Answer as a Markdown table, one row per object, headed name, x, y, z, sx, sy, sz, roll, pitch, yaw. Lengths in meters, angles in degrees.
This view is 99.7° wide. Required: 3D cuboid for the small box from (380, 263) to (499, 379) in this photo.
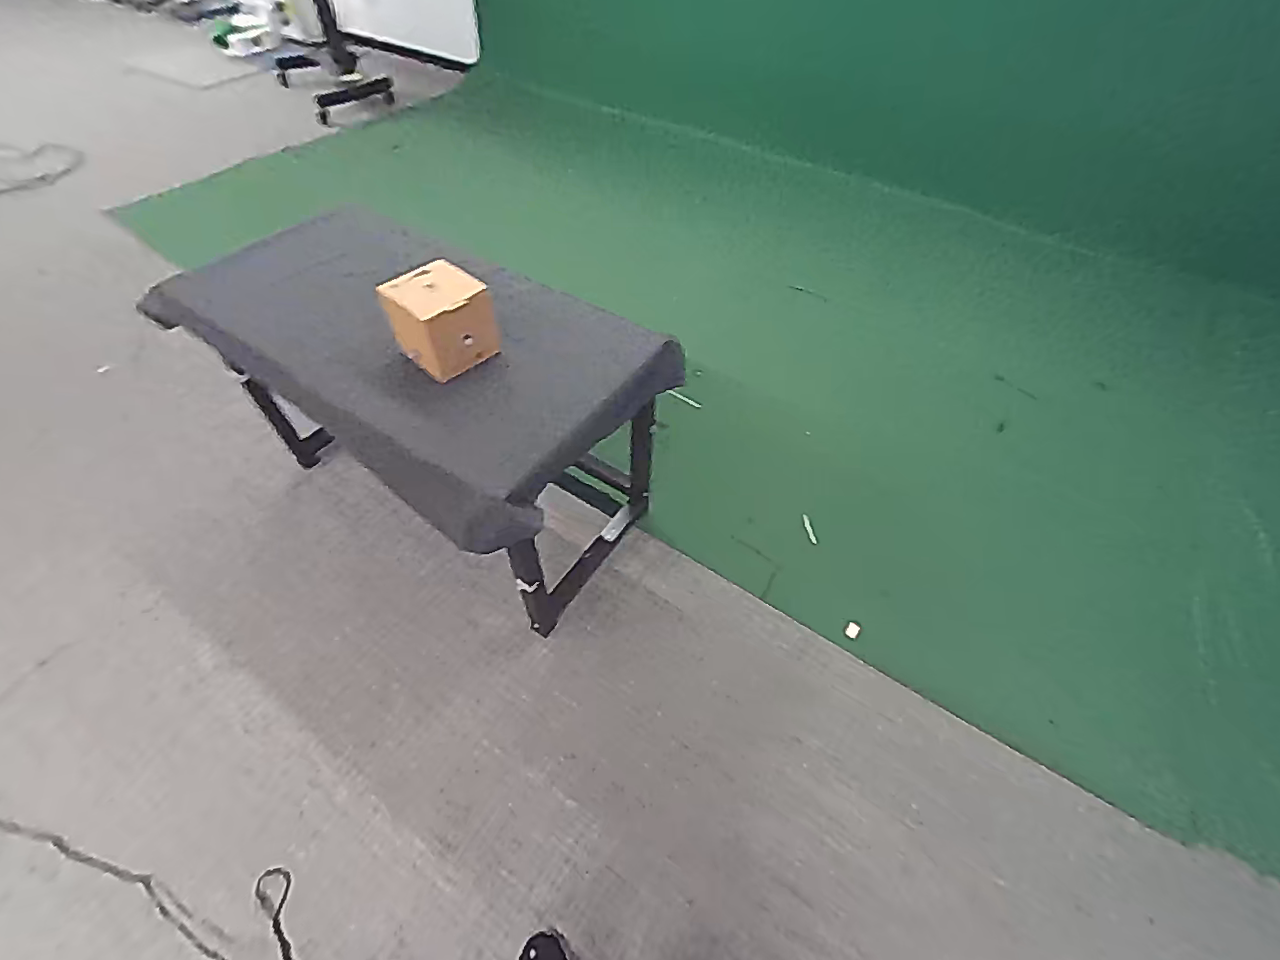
| name | x | y | z | sx | sy | sz | roll | pitch | yaw |
| --- | --- | --- | --- | --- | --- | --- | --- | --- | --- |
| small box | -0.444 | -0.353 | 1.226 | 0.179 | 0.176 | 0.168 | 37 | 59 | 23 |
